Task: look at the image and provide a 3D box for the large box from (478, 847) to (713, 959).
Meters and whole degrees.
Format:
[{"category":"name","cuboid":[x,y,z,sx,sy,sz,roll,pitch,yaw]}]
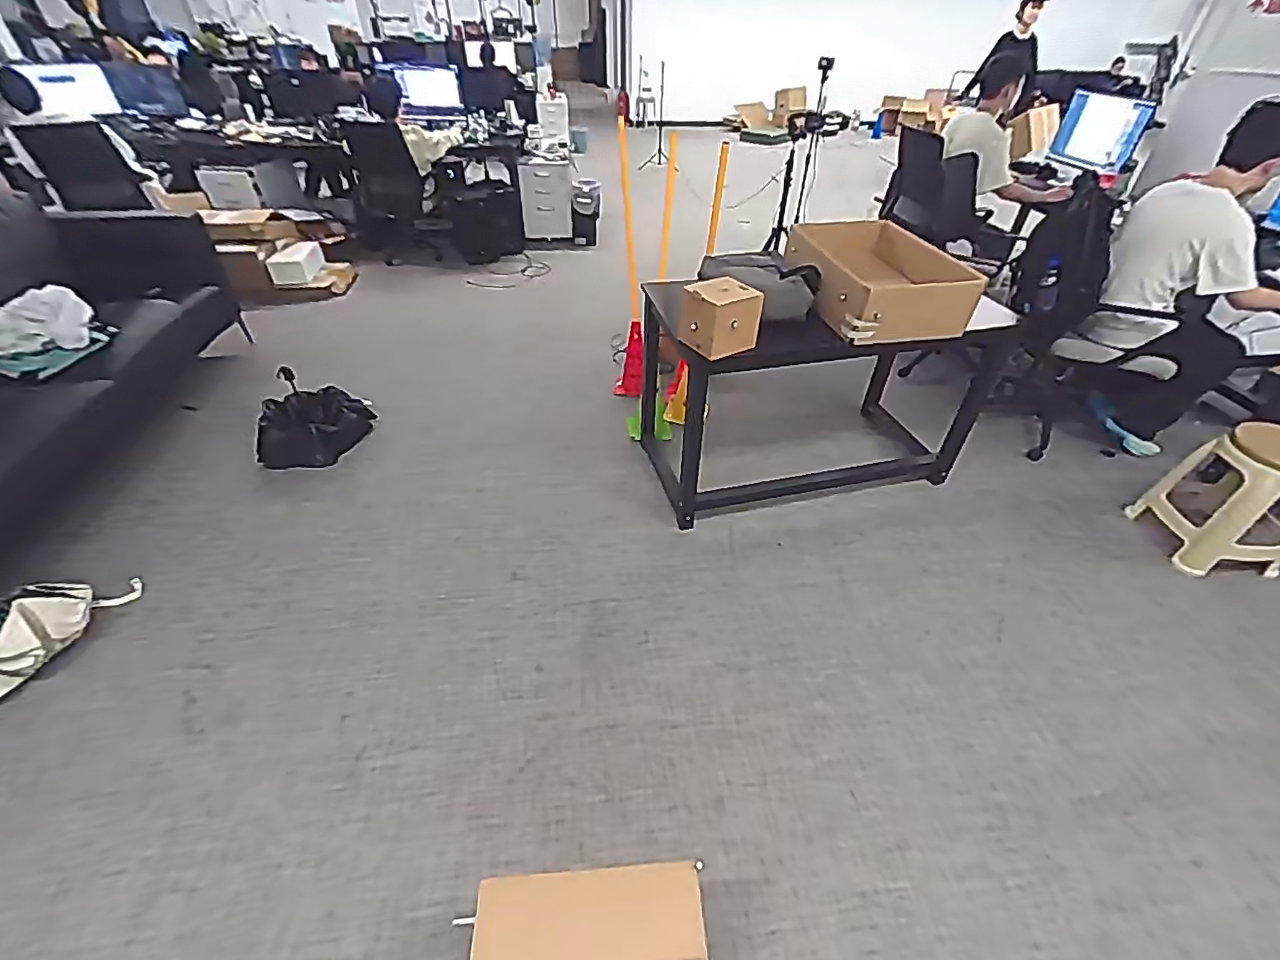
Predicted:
[{"category":"large box","cuboid":[-0.077,0.926,1.002,0.408,0.320,0.320,-3,42,-4]}]
